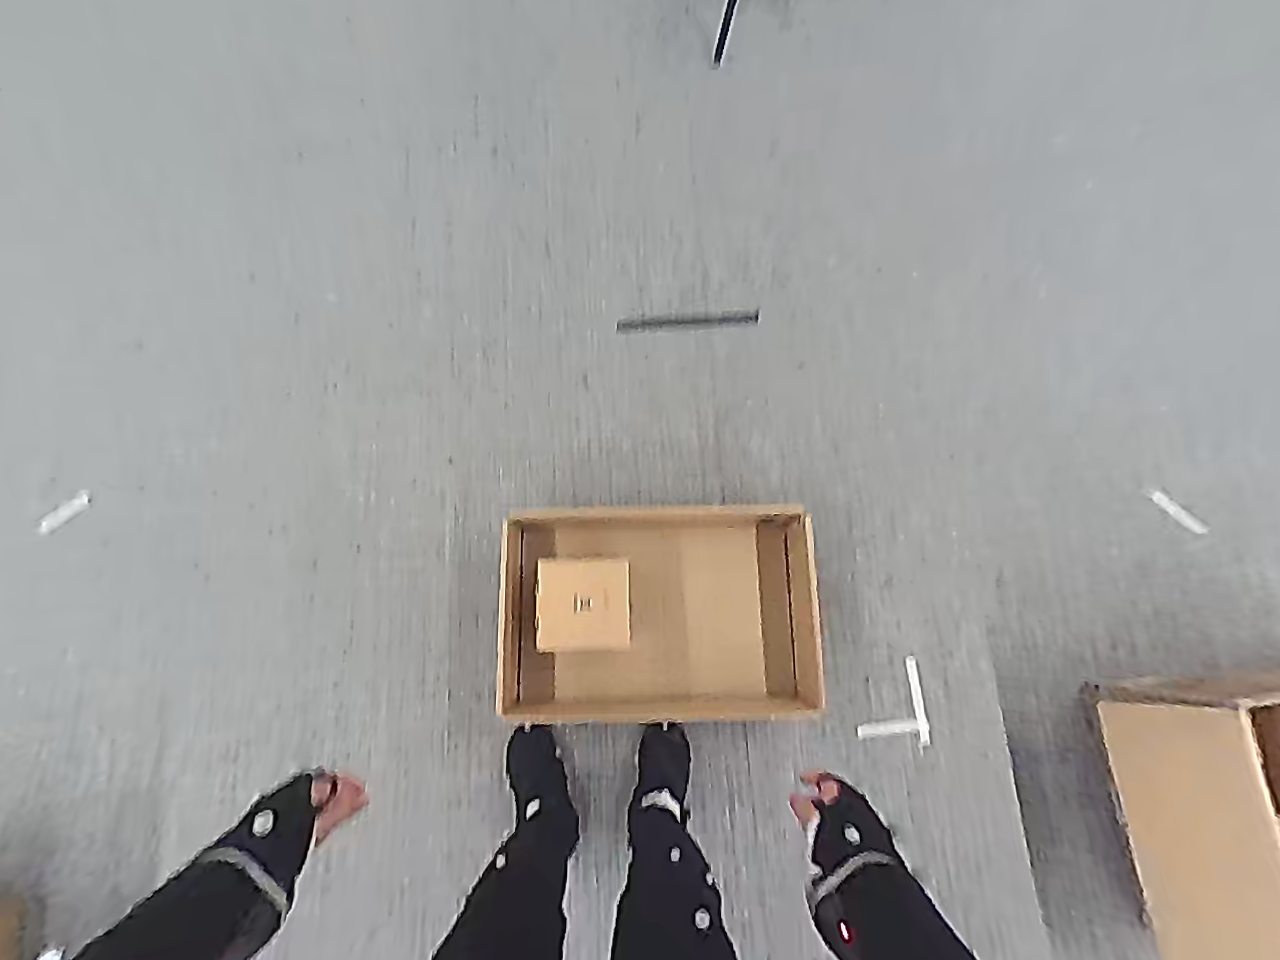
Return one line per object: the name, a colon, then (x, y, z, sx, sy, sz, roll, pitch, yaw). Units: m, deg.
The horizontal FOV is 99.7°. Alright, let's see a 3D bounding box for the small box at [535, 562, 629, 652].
small box: (-0.113, 0.256, 1.102, 0.179, 0.176, 0.168, -2, 79, -3)
